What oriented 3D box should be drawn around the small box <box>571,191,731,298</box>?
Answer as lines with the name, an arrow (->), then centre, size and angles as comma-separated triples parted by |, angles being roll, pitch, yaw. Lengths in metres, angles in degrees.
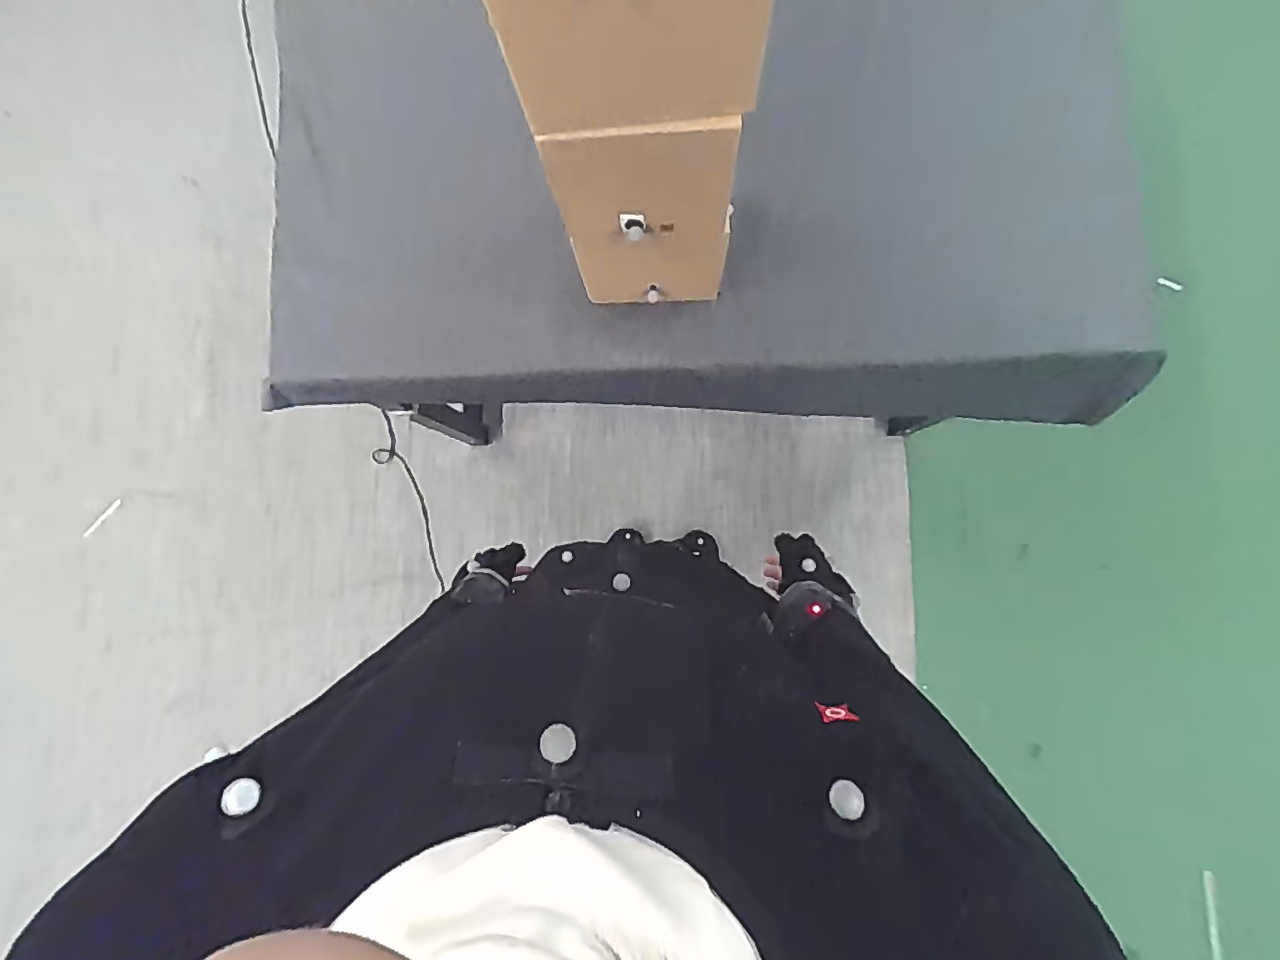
small box -> 0.015, -0.338, 0.672 | 0.179, 0.176, 0.168 | 0, 85, 3

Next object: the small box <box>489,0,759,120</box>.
small box -> -0.012, -0.368, 0.348 | 0.179, 0.176, 0.168 | -2, 85, 4

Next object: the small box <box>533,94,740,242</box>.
small box -> 0.003, -0.352, 0.511 | 0.168, 0.176, 0.179 | -1, 86, 5
